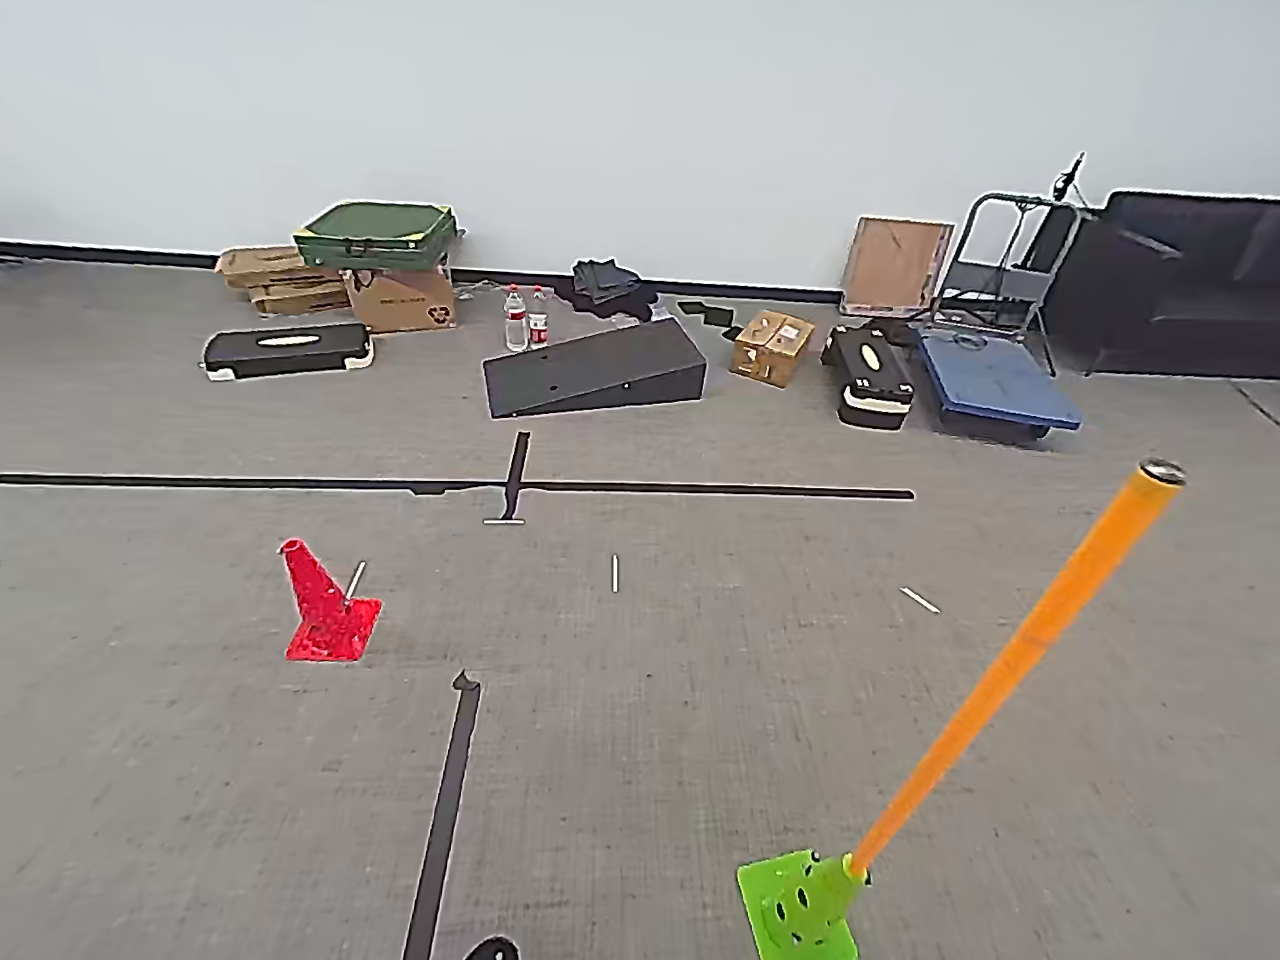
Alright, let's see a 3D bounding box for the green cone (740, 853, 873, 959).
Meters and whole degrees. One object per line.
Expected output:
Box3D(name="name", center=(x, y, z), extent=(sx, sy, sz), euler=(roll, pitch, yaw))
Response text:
Box3D(name="green cone", center=(0.337, 0.773, 0.996), extent=(0.200, 0.368, 0.202), euler=(-5, 44, -13))
